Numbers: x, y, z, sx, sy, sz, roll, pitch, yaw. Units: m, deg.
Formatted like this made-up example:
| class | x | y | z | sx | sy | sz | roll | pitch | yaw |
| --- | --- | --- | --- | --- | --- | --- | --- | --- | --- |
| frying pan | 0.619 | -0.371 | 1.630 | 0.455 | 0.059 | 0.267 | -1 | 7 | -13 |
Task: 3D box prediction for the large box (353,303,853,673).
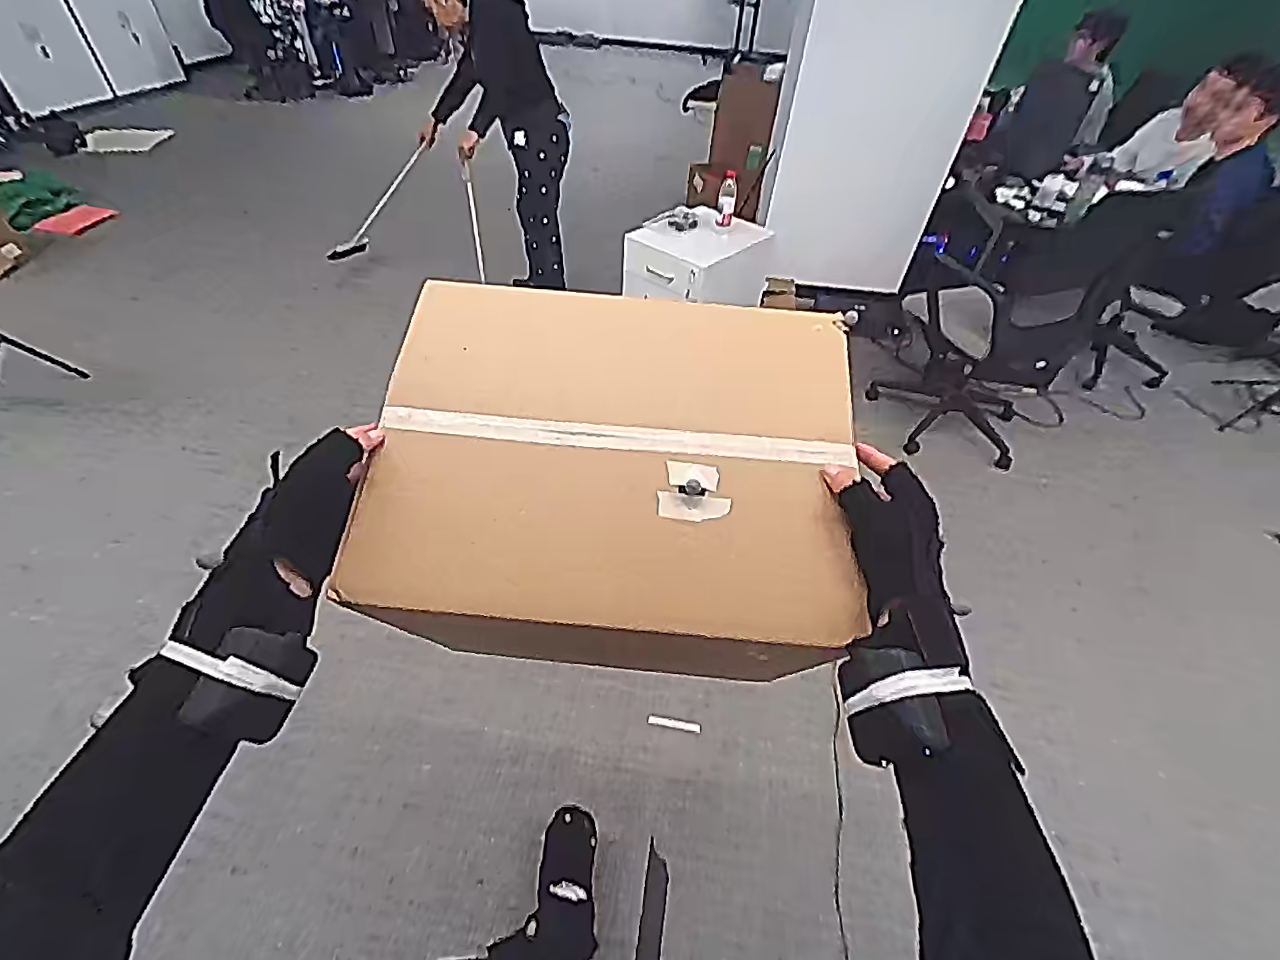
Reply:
| class | x | y | z | sx | sy | sz | roll | pitch | yaw |
| --- | --- | --- | --- | --- | --- | --- | --- | --- | --- |
| large box | -0.024 | 0.034 | 0.618 | 0.408 | 0.320 | 0.320 | 5 | 67 | 1 |
